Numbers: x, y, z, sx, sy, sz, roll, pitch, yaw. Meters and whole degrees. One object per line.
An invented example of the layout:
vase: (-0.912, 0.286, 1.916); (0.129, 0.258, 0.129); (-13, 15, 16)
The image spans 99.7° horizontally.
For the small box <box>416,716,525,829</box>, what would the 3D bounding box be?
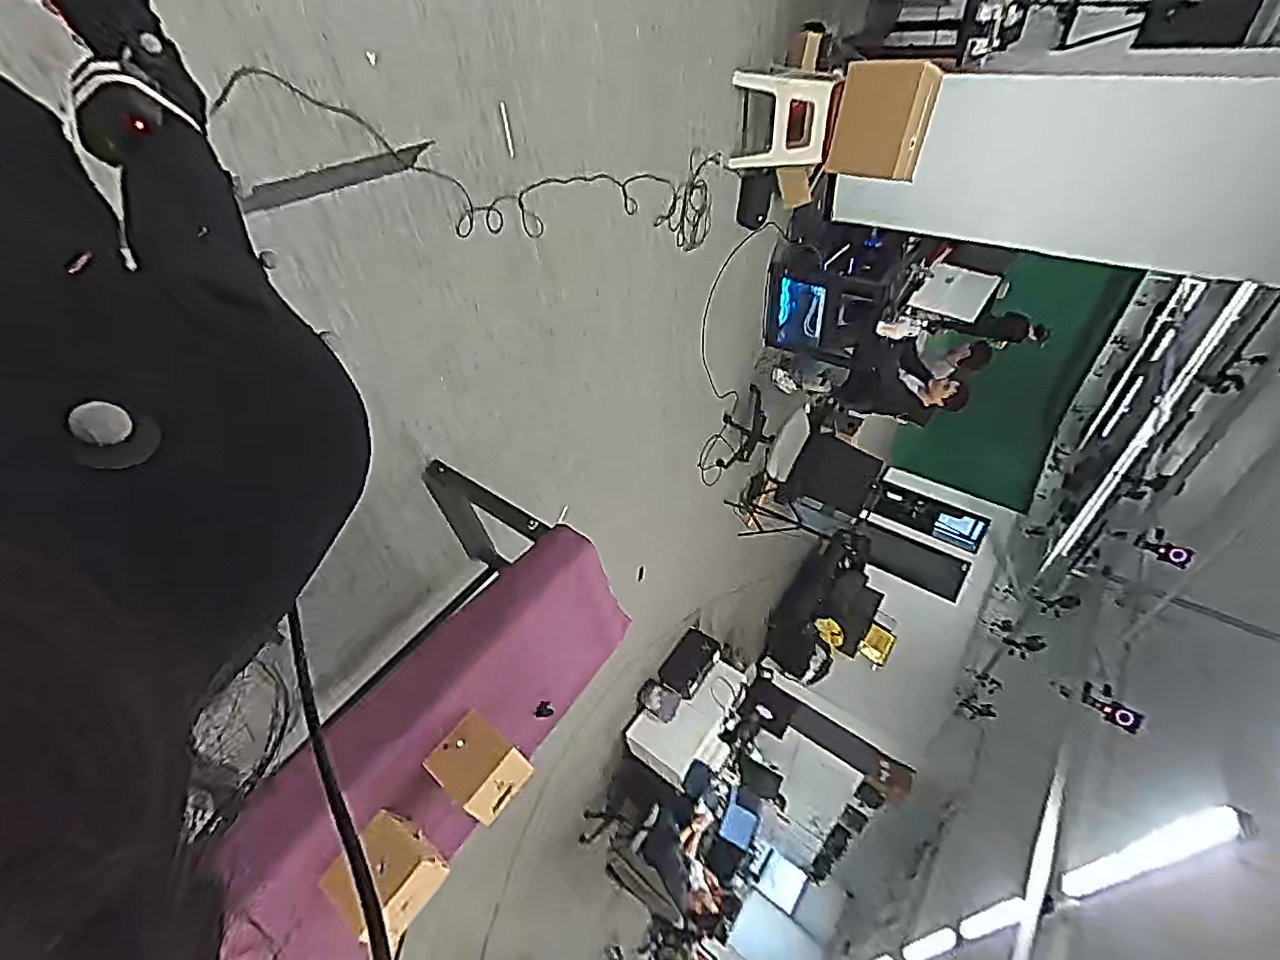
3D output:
small box: (-0.424, 0.730, 1.361); (0.168, 0.176, 0.179); (-46, 146, -31)

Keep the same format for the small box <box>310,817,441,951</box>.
small box: (-0.593, 0.904, 1.220); (0.179, 0.176, 0.168); (-47, 147, -31)
